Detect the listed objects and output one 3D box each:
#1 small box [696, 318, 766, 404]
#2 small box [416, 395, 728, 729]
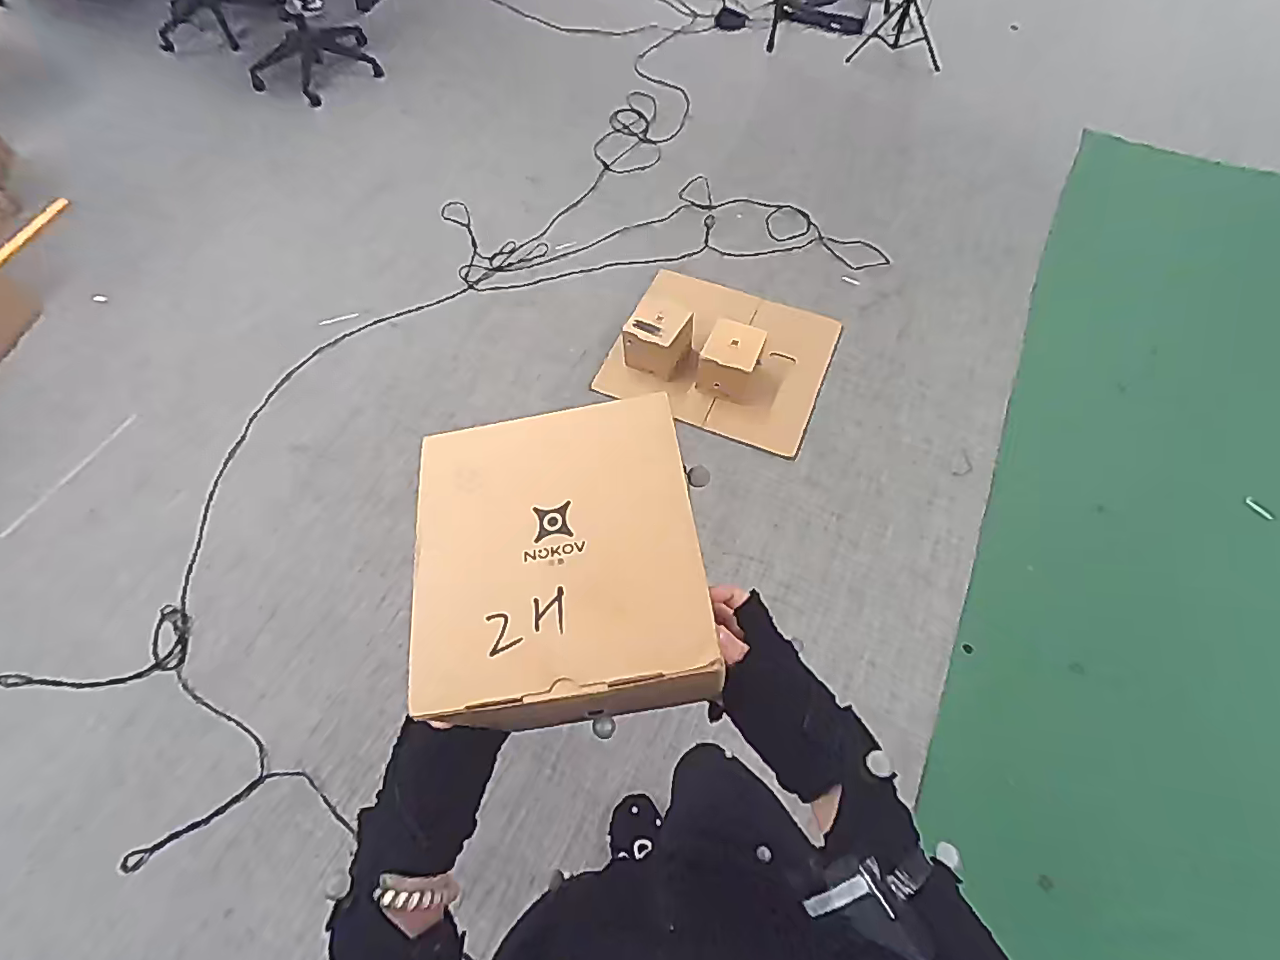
[{"bbox_3d":[0.283,-0.375,1.712,0.168,0.176,0.179,20,65,11],"label":"small box"},{"bbox_3d":[-0.037,0.069,0.386,0.168,0.176,0.179,-11,62,3],"label":"small box"}]
